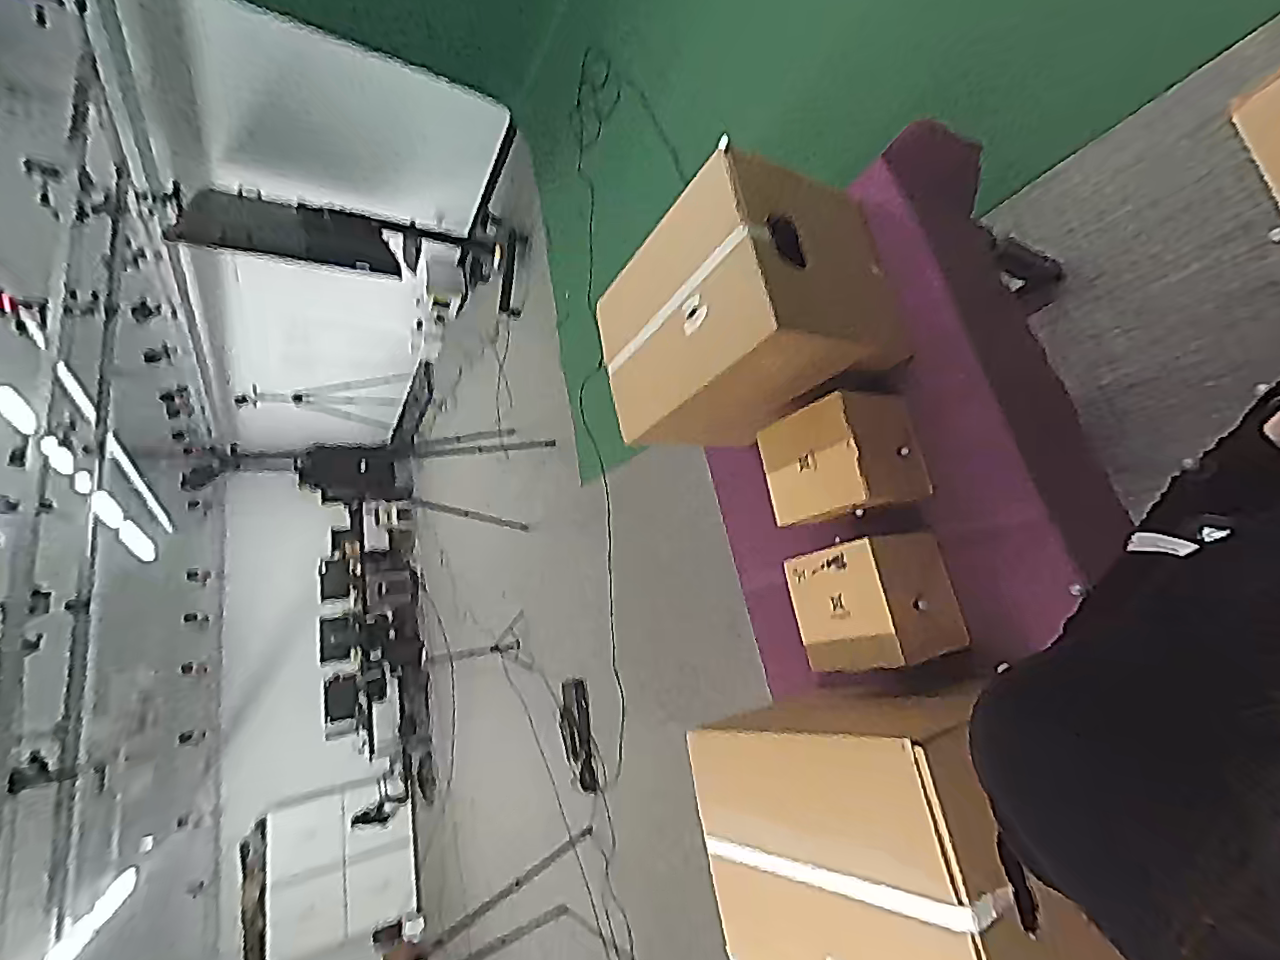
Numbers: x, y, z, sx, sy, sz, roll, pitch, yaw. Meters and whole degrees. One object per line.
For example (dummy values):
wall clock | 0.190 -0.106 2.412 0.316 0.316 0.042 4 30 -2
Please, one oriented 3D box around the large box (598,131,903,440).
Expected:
large box | 0.170 -0.293 0.971 0.408 0.320 0.320 -31 66 51
